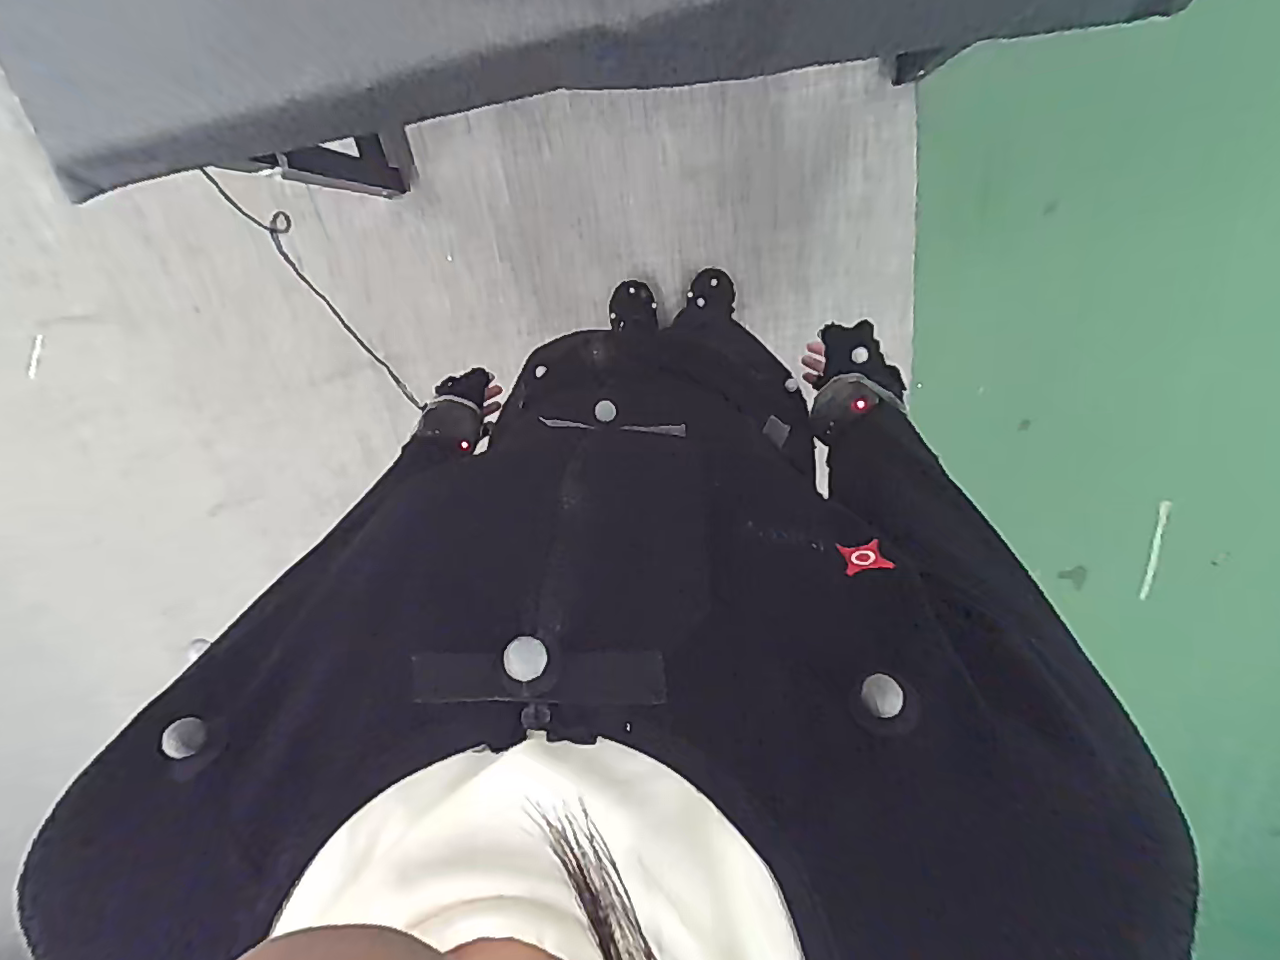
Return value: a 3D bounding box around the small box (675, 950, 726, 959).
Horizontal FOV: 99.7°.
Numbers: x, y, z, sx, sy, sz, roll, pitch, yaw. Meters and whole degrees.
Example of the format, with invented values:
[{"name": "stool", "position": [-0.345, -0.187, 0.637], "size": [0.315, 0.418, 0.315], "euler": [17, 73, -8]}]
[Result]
[{"name": "small box", "position": [0.202, 1.702, 1.788], "size": [0.179, 0.176, 0.168], "euler": [-3, 109, 4]}]
